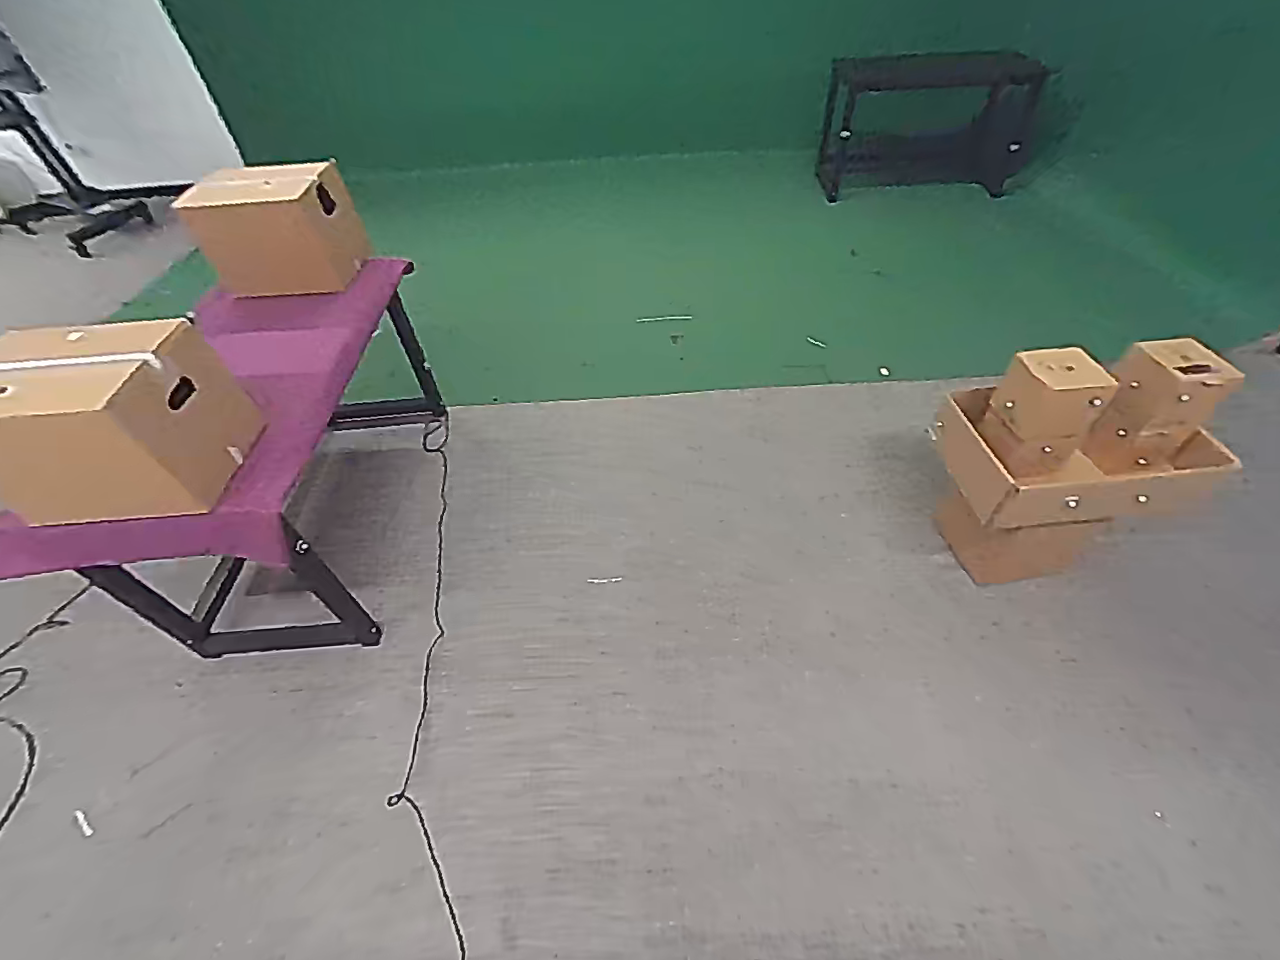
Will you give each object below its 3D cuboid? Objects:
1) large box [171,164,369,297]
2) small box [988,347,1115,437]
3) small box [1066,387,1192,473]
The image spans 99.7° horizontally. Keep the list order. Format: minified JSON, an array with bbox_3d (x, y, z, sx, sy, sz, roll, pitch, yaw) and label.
[{"bbox_3d":[-1.225,-0.849,1.843,0.408,0.320,0.320,-3,50,1],"label":"large box"},{"bbox_3d":[1.078,-0.231,1.433,0.179,0.176,0.168,-5,47,-2],"label":"small box"},{"bbox_3d":[1.398,-0.143,1.564,0.168,0.176,0.179,-8,49,-5],"label":"small box"}]
